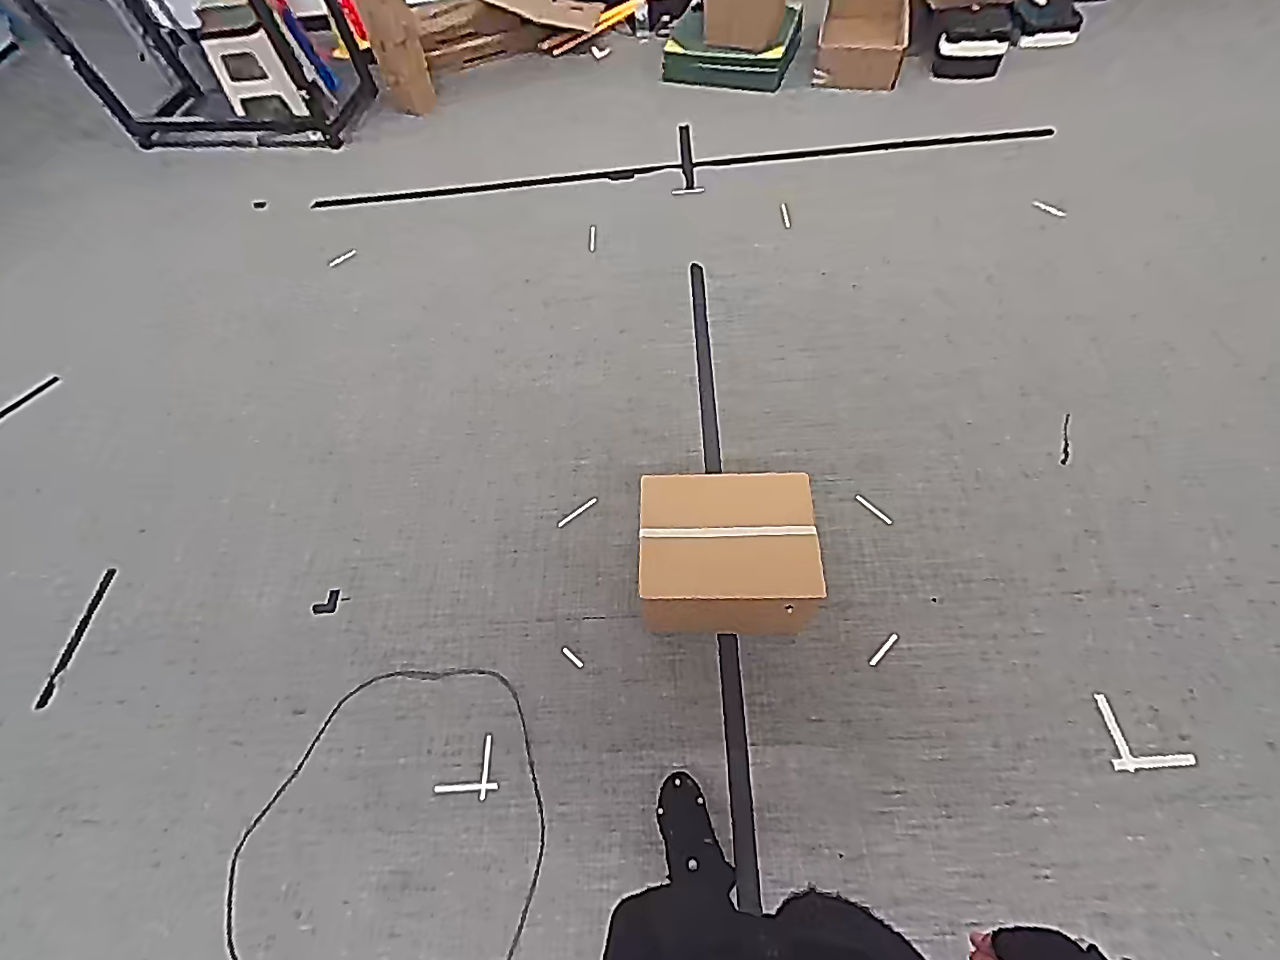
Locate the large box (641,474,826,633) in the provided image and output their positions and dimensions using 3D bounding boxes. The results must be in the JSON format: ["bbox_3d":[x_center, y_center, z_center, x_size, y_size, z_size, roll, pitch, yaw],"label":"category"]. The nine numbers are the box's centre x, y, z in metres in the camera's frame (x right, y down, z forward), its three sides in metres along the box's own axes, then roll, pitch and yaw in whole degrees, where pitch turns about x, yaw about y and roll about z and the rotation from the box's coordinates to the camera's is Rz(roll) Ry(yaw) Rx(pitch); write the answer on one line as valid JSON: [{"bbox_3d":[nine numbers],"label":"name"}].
[{"bbox_3d":[0.213,0.198,1.365,0.408,0.320,0.320,-1,60,4],"label":"large box"}]
